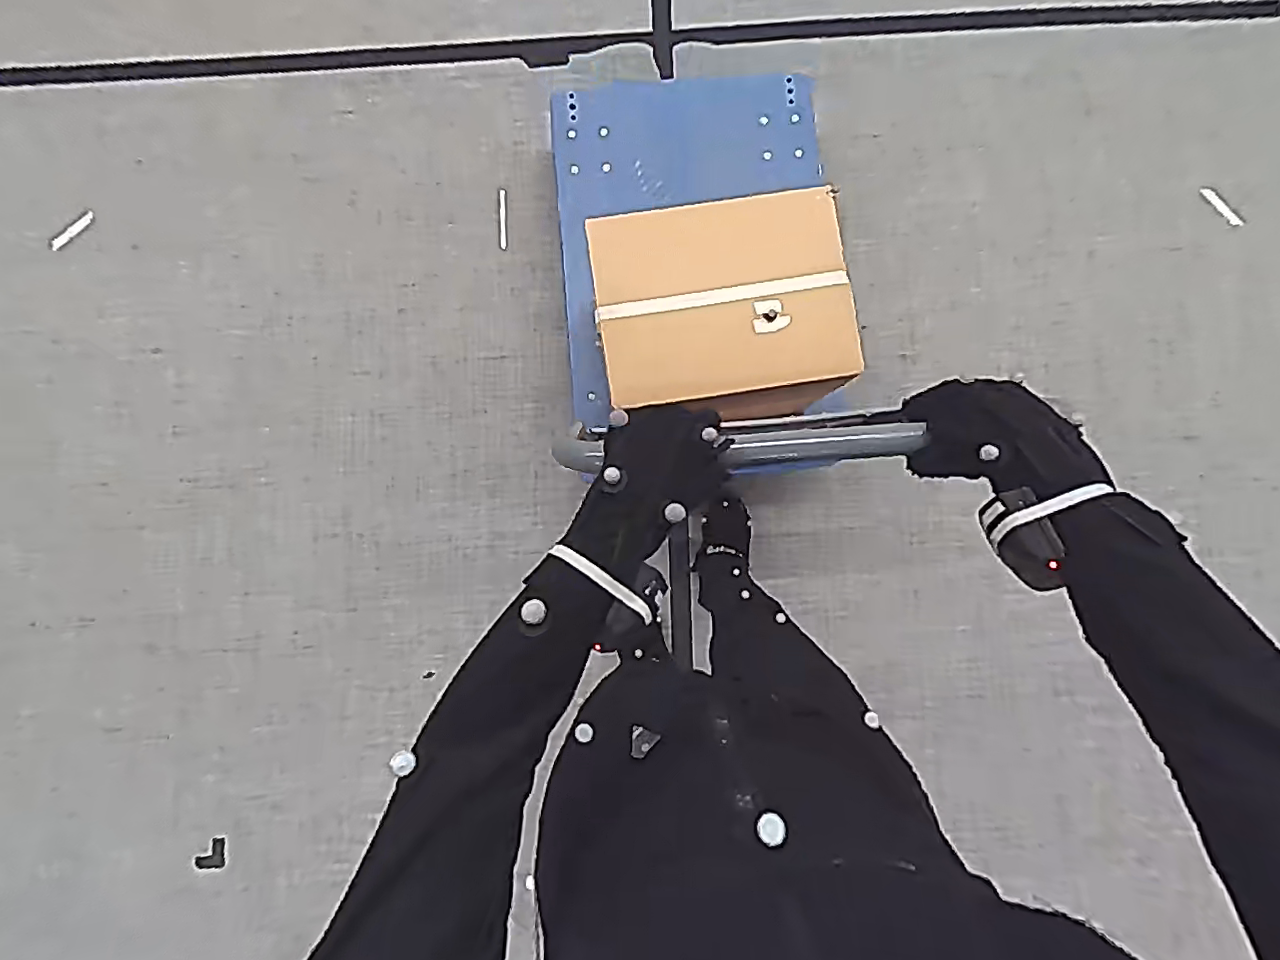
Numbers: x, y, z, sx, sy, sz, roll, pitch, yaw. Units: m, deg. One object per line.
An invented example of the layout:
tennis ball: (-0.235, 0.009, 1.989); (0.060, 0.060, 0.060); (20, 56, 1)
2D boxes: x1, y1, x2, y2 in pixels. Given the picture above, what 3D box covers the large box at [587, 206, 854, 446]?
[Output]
large box: (0.127, -0.264, 1.031); (0.408, 0.320, 0.320); (-9, 87, -2)
